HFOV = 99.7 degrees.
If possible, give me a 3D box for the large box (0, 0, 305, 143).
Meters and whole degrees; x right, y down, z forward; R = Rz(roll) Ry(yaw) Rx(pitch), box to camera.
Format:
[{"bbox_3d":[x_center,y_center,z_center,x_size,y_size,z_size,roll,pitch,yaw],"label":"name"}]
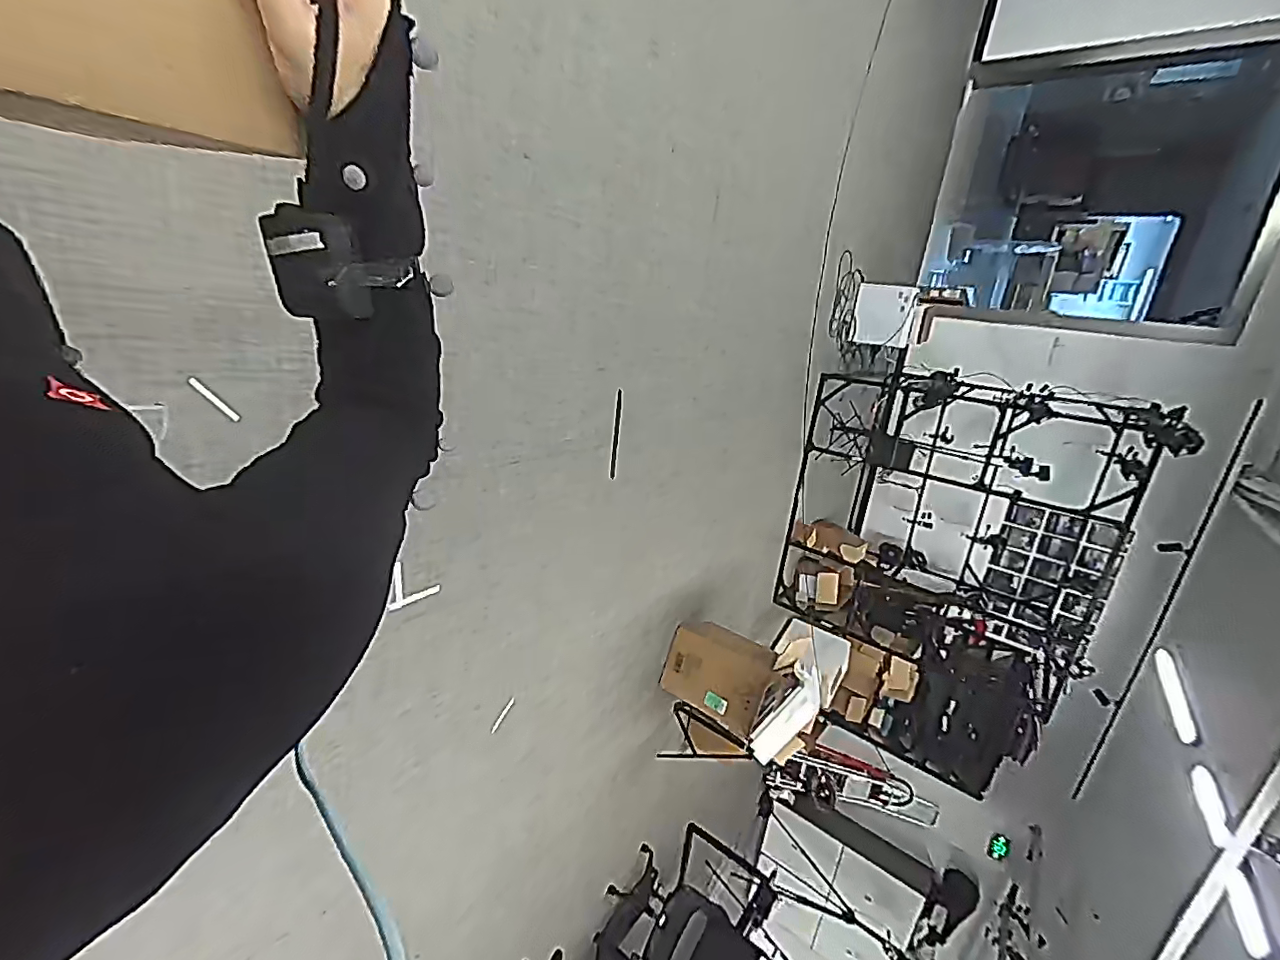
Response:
[{"bbox_3d":[-0.409,-0.339,0.177,0.408,0.320,0.320,-23,130,-53],"label":"large box"}]
